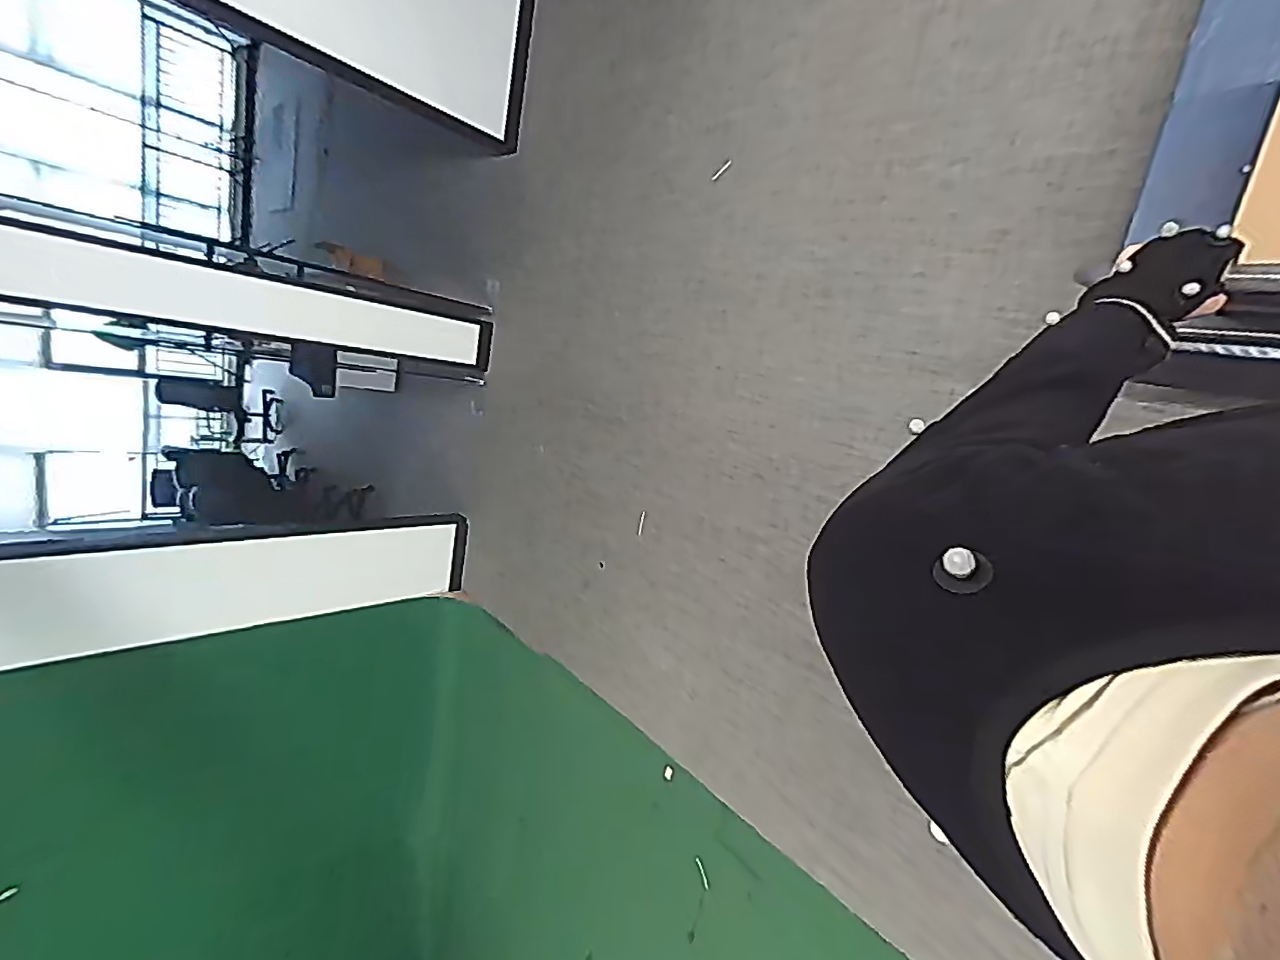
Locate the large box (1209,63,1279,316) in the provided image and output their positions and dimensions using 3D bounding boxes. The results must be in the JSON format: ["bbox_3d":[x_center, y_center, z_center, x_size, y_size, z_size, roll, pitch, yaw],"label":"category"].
[{"bbox_3d":[1.121,-0.475,0.798,0.320,0.320,0.408,20,103,42],"label":"large box"}]
